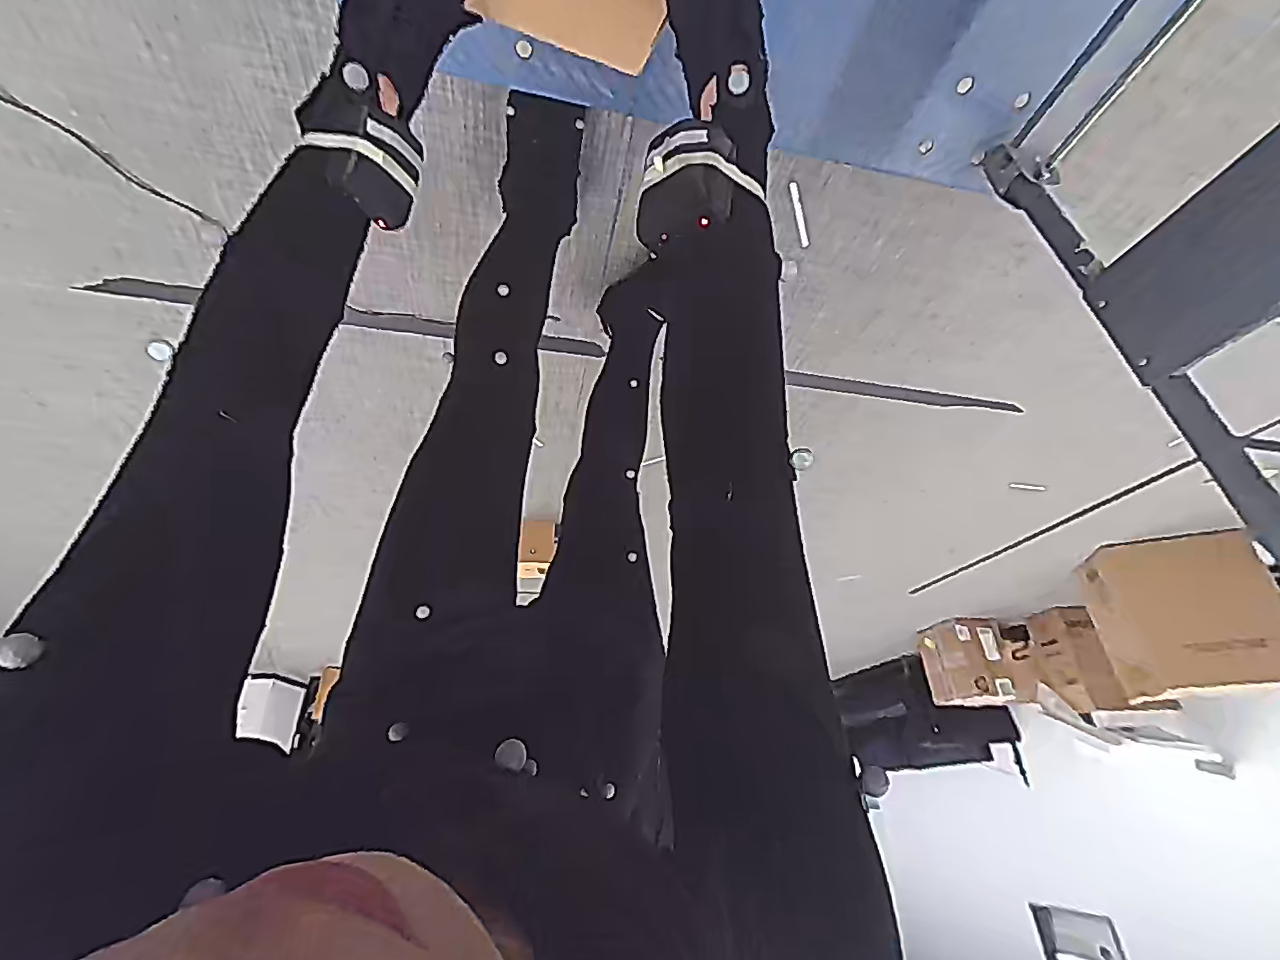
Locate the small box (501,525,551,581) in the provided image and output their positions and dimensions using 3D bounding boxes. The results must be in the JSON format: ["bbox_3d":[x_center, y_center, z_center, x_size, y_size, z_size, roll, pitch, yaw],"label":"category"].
[{"bbox_3d":[-0.432,0.280,2.069,0.179,0.176,0.168,3,149,-8],"label":"small box"}]

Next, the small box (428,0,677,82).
[{"bbox_3d":[-0.048,-0.442,0.376,0.179,0.176,0.168,6,170,-22],"label":"small box"}]
